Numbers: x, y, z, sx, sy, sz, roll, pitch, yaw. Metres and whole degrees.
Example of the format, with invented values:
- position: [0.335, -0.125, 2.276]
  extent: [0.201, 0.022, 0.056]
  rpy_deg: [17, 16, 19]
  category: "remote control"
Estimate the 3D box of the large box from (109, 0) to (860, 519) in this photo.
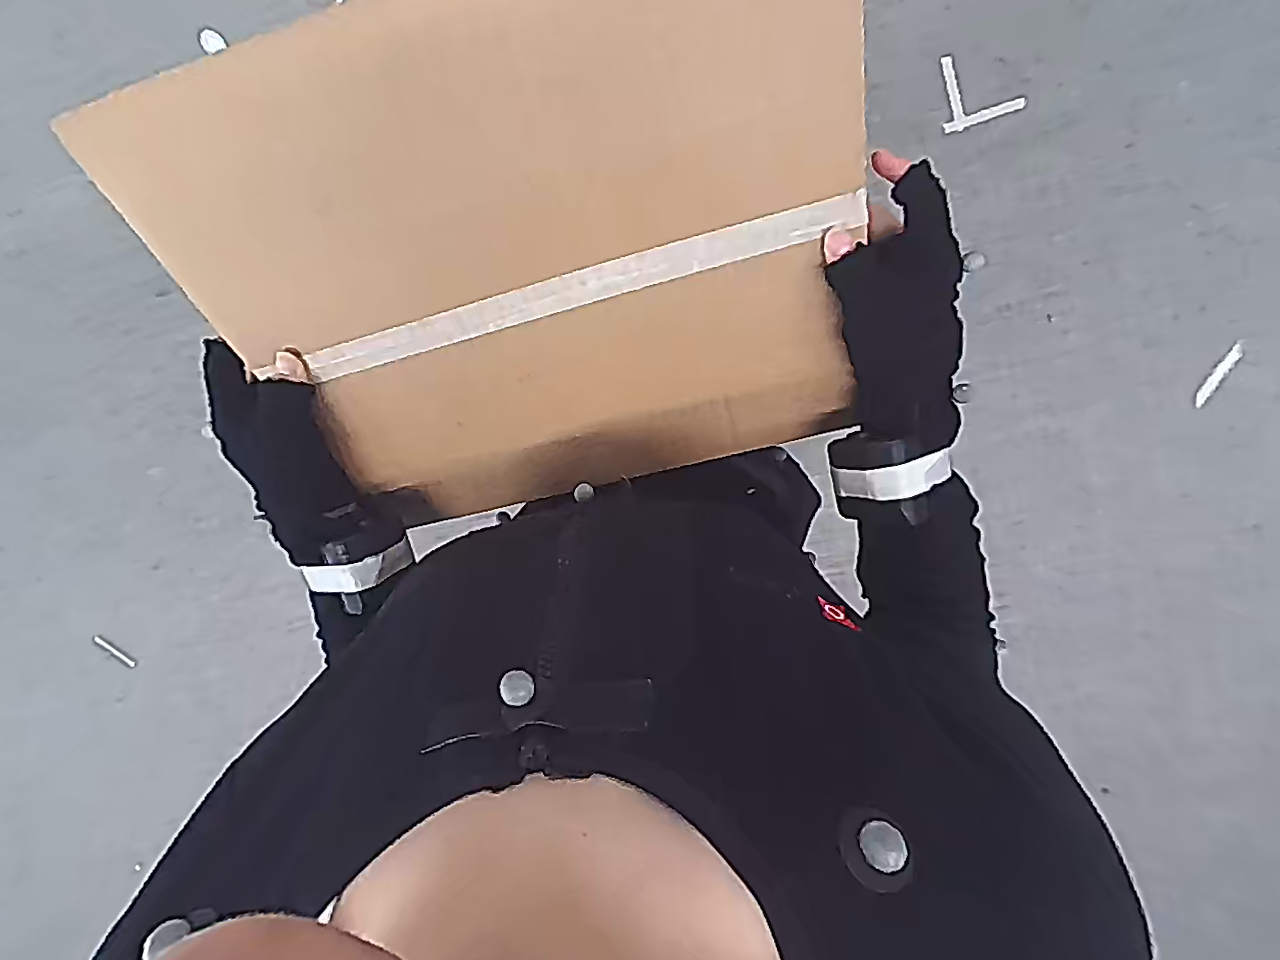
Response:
- position: [-0.067, -0.215, 0.468]
  extent: [0.408, 0.320, 0.320]
  rpy_deg: [-13, 130, 9]
  category: "large box"
